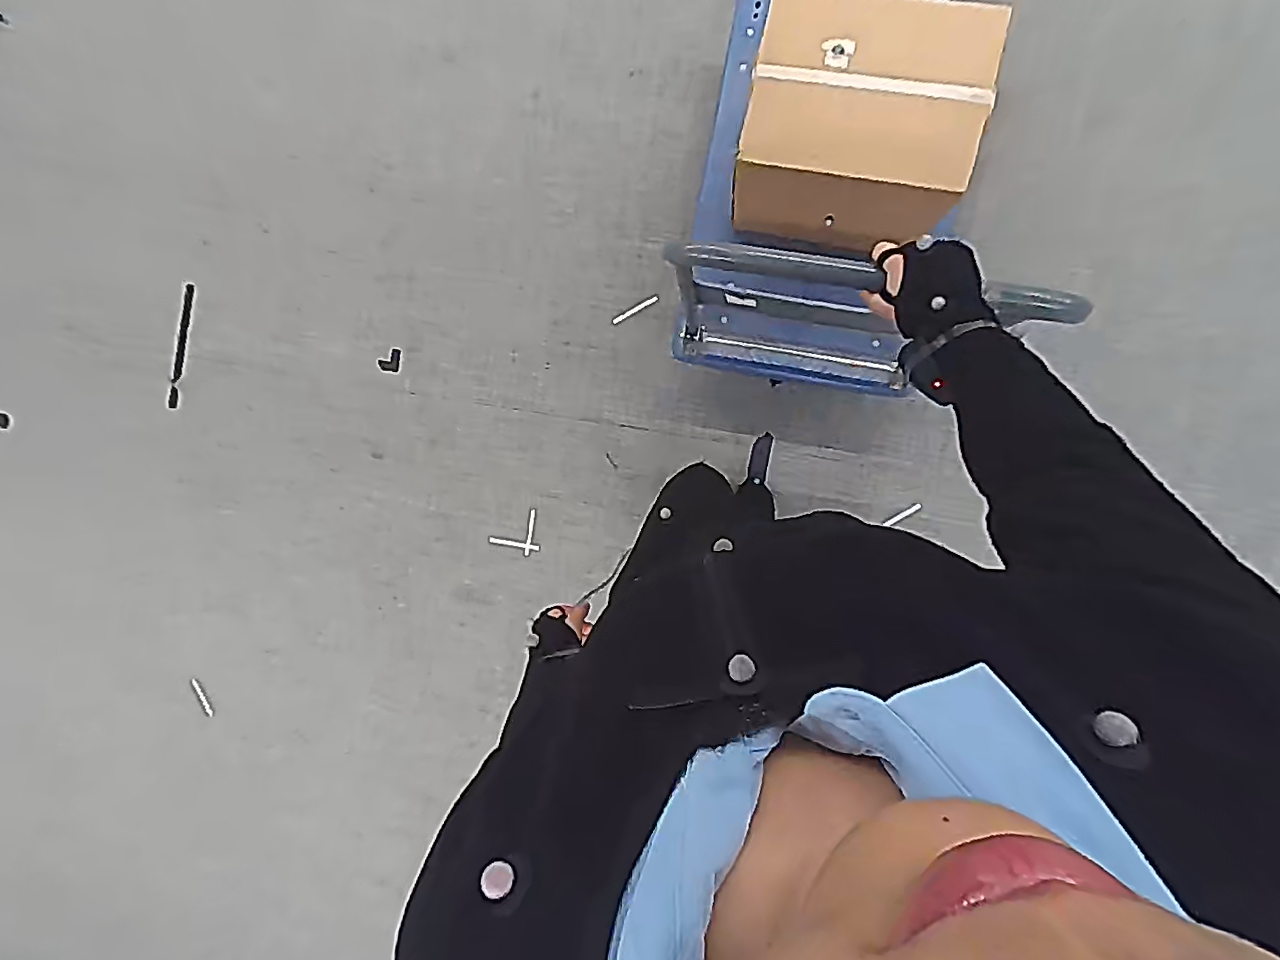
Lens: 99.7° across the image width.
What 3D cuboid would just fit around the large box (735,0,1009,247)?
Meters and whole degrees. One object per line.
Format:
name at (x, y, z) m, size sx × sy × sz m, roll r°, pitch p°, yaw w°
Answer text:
large box at (0.421, -0.696, 1.082) m, size 0.408 × 0.320 × 0.320 m, roll 13°, pitch 93°, yaw 9°
